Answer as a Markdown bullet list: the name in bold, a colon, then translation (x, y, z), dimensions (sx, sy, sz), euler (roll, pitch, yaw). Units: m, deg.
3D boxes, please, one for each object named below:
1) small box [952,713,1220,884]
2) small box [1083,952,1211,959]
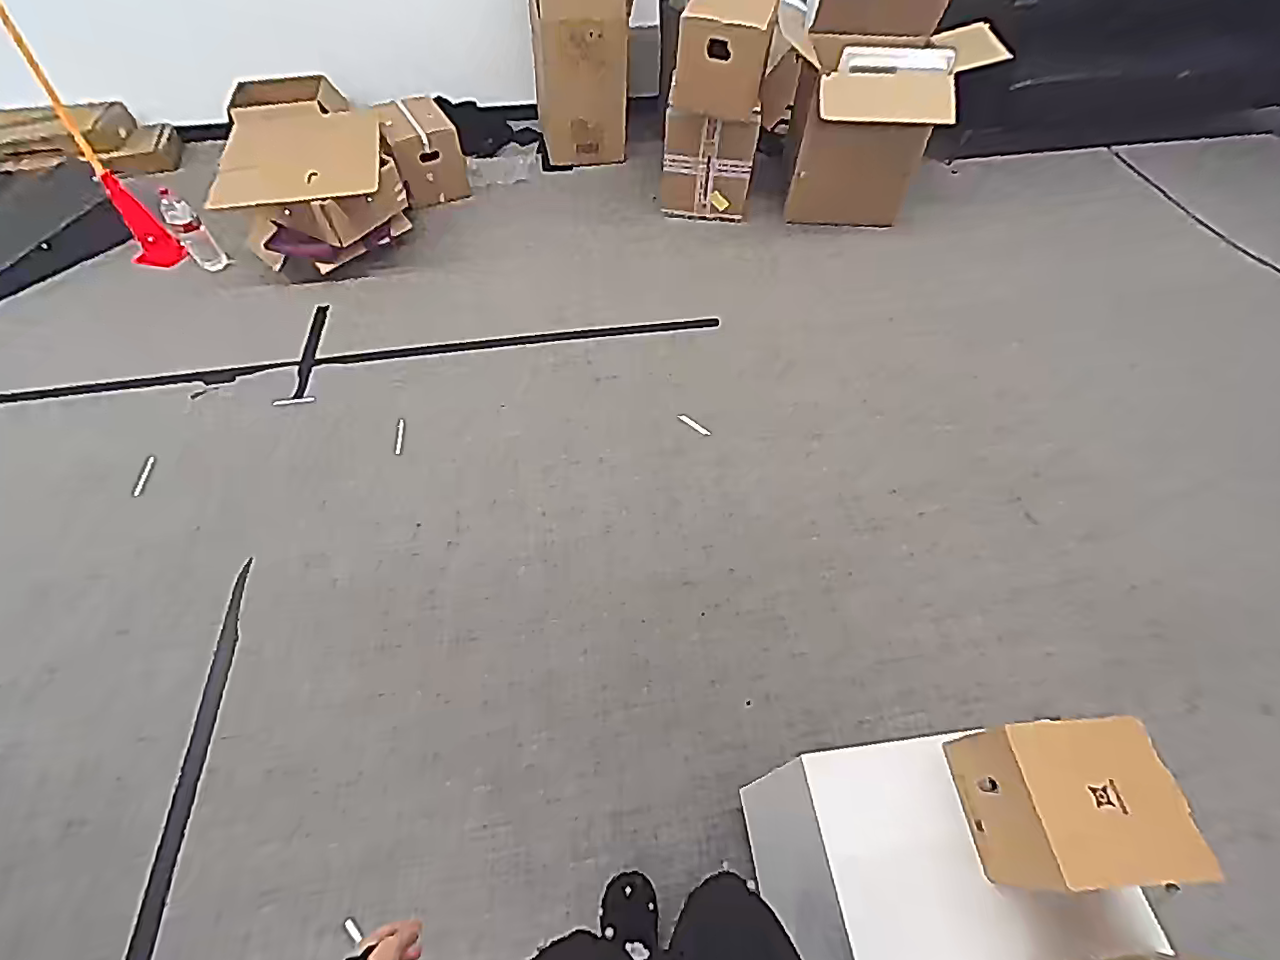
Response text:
- **small box**: translation (0.532, 0.404, 0.685), dimensions (0.179, 0.176, 0.168), euler (-3, 56, -3)
- **small box**: translation (0.564, 0.605, 0.547), dimensions (0.179, 0.176, 0.168), euler (-4, 56, -4)
